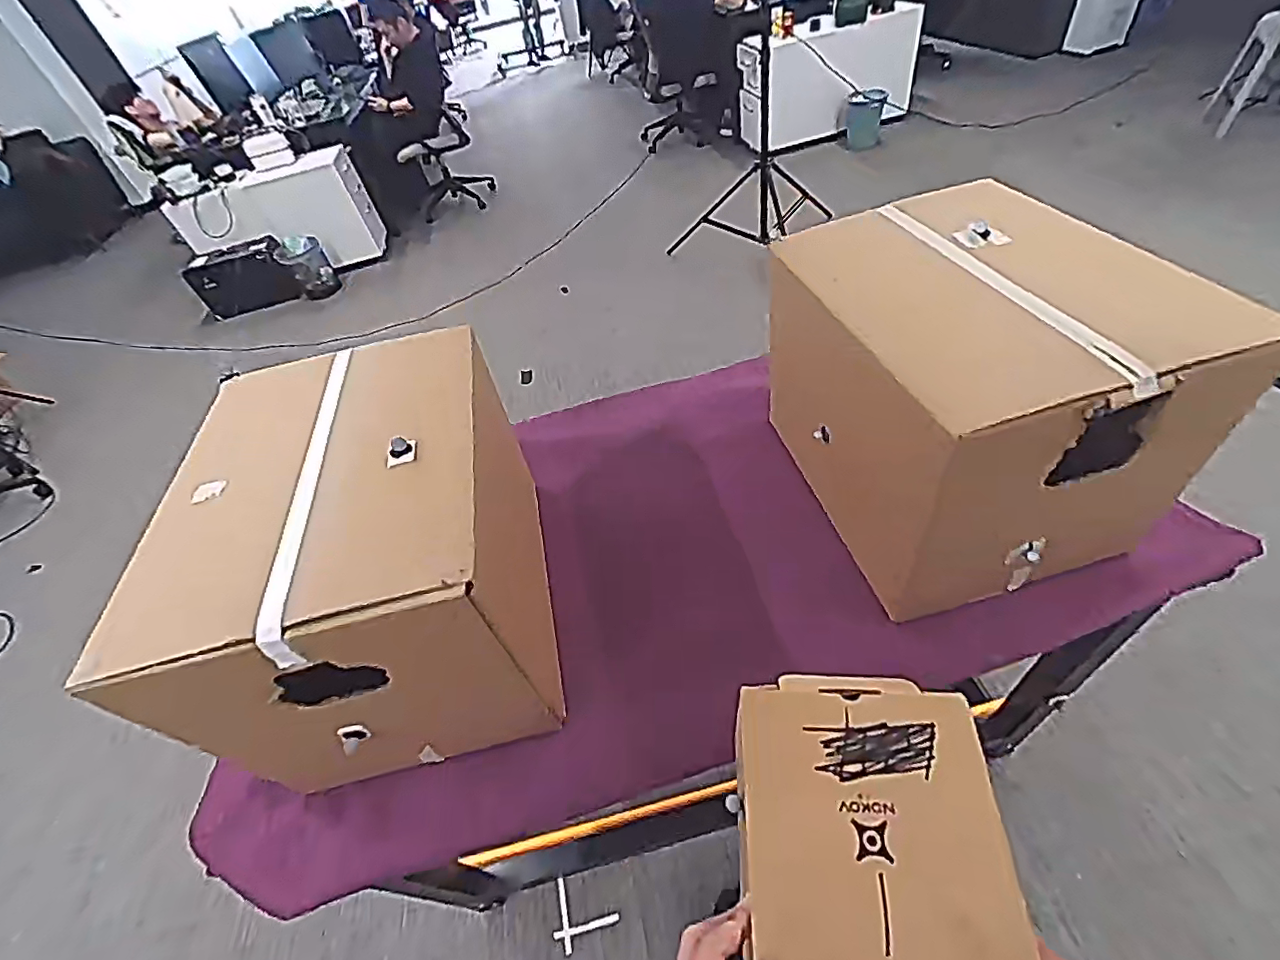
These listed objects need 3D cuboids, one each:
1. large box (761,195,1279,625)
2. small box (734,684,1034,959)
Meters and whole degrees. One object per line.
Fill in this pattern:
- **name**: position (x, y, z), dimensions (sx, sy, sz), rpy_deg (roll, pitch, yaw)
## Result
- **large box**: position (0.377, -0.099, 0.679), dimensions (0.320, 0.320, 0.408), rpy_deg (-16, 45, -2)
- **small box**: position (0.161, 0.276, 0.424), dimensions (0.168, 0.176, 0.179), rpy_deg (-2, 54, 8)
